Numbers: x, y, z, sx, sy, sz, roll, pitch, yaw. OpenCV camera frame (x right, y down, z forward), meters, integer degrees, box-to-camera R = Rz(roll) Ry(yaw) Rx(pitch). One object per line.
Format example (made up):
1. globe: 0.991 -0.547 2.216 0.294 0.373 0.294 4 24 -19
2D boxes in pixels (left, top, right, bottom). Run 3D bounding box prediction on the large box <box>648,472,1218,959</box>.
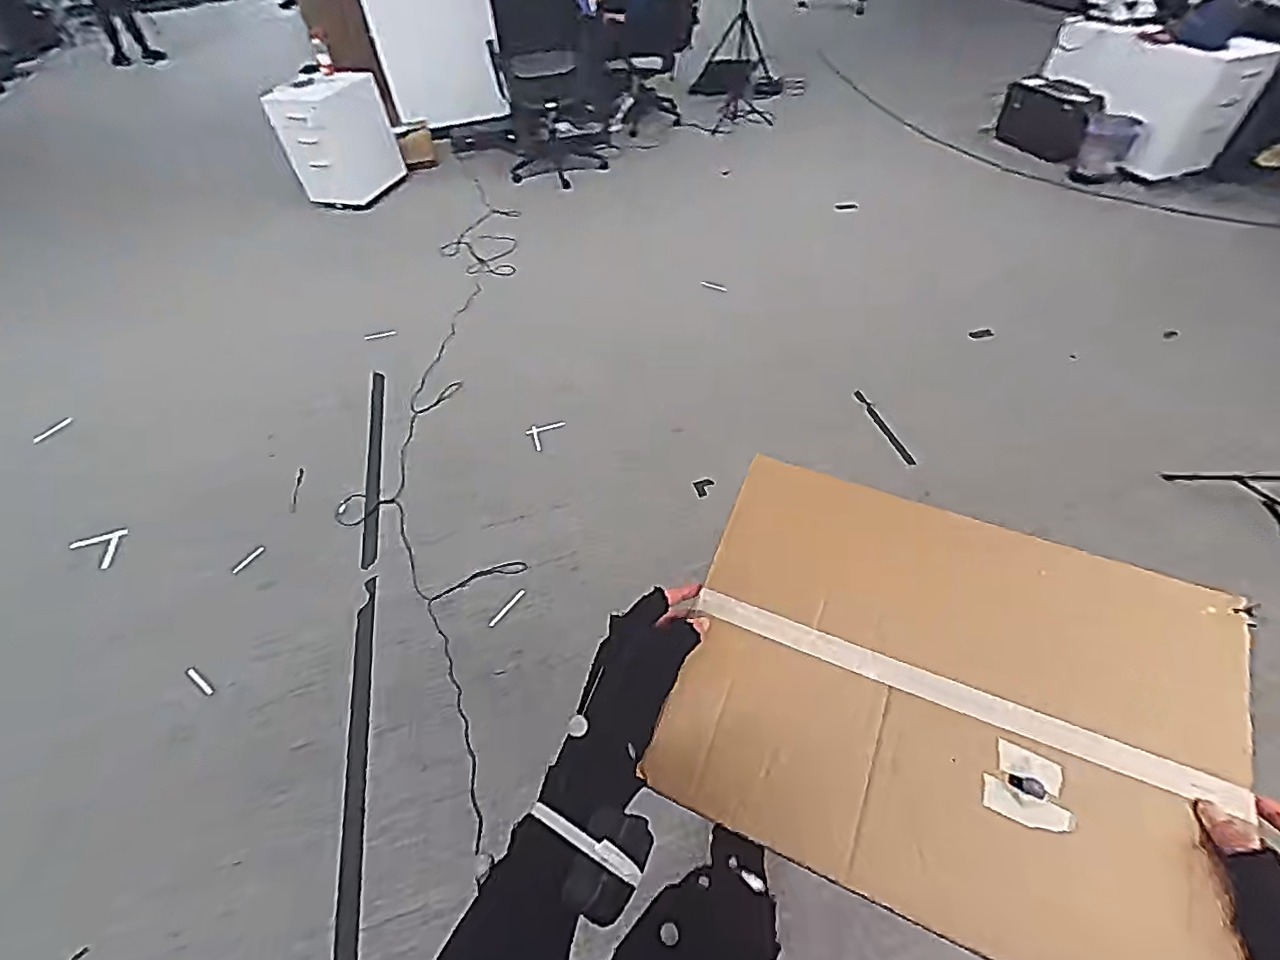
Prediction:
1. large box: 0.258 0.240 0.584 0.408 0.320 0.320 18 68 16
